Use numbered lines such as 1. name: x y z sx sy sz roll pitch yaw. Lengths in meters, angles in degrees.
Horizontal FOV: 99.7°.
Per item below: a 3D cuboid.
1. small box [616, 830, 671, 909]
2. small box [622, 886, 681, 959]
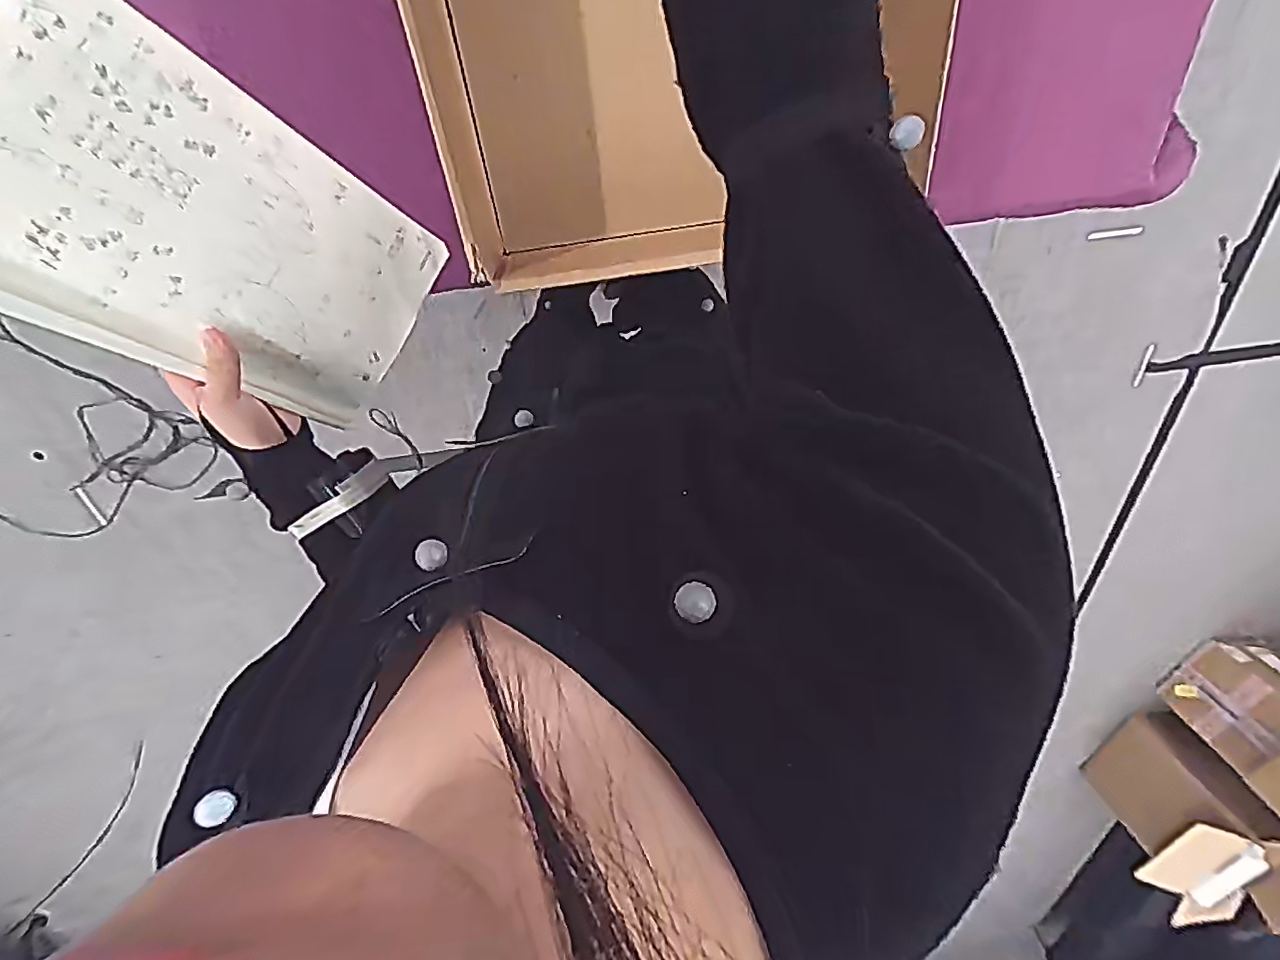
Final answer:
1. small box: 0.008 1.352 1.878 0.179 0.176 0.168 -6 124 -6
2. small box: 0.033 1.451 1.749 0.168 0.176 0.179 -4 124 -7
